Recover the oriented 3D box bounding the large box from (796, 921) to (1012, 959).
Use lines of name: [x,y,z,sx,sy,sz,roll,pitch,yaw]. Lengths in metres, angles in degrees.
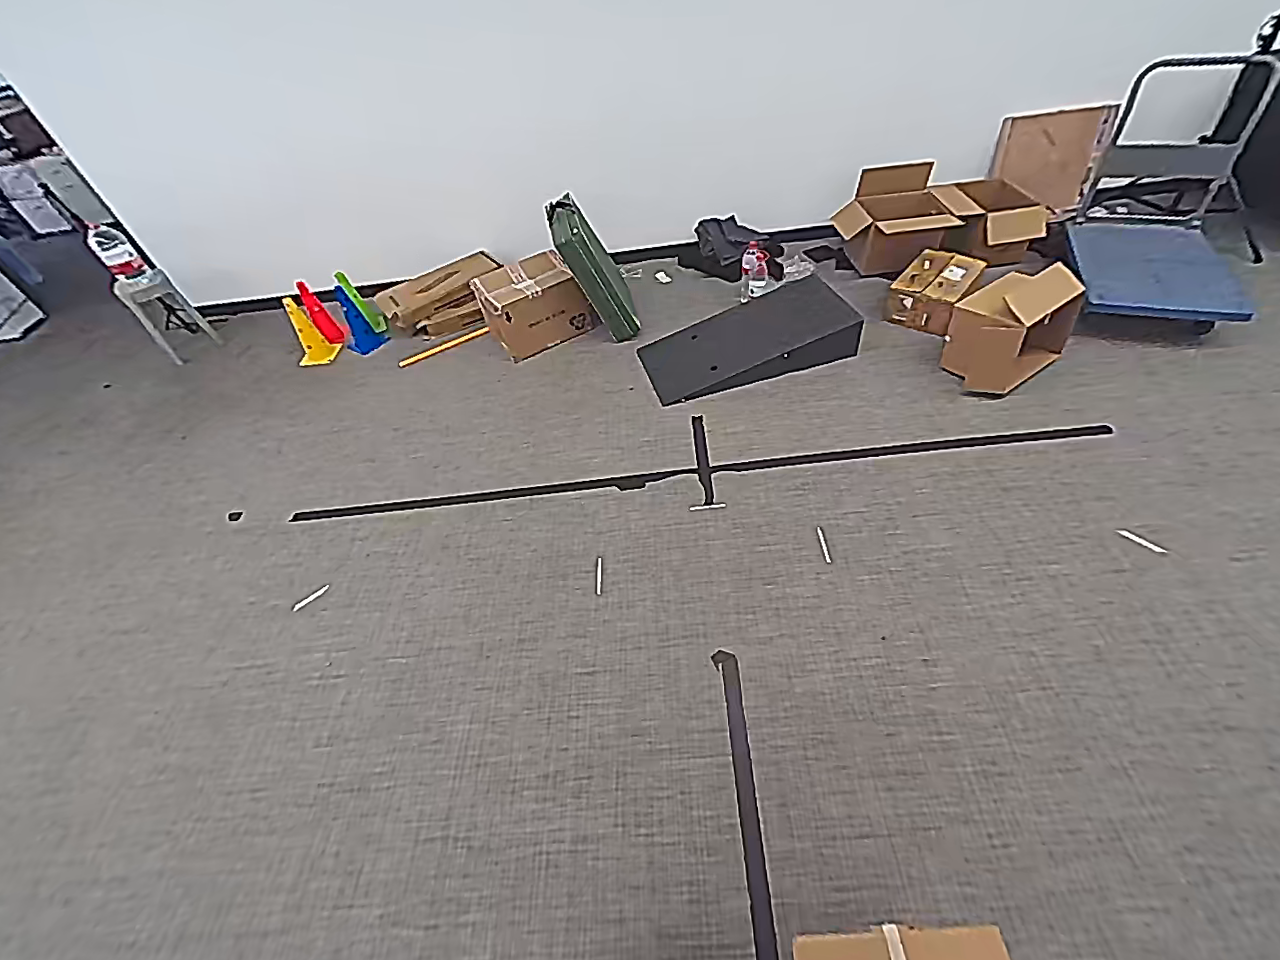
large box: [0.440,0.946,0.824,0.320,0.320,0.408,-11,48,9]
